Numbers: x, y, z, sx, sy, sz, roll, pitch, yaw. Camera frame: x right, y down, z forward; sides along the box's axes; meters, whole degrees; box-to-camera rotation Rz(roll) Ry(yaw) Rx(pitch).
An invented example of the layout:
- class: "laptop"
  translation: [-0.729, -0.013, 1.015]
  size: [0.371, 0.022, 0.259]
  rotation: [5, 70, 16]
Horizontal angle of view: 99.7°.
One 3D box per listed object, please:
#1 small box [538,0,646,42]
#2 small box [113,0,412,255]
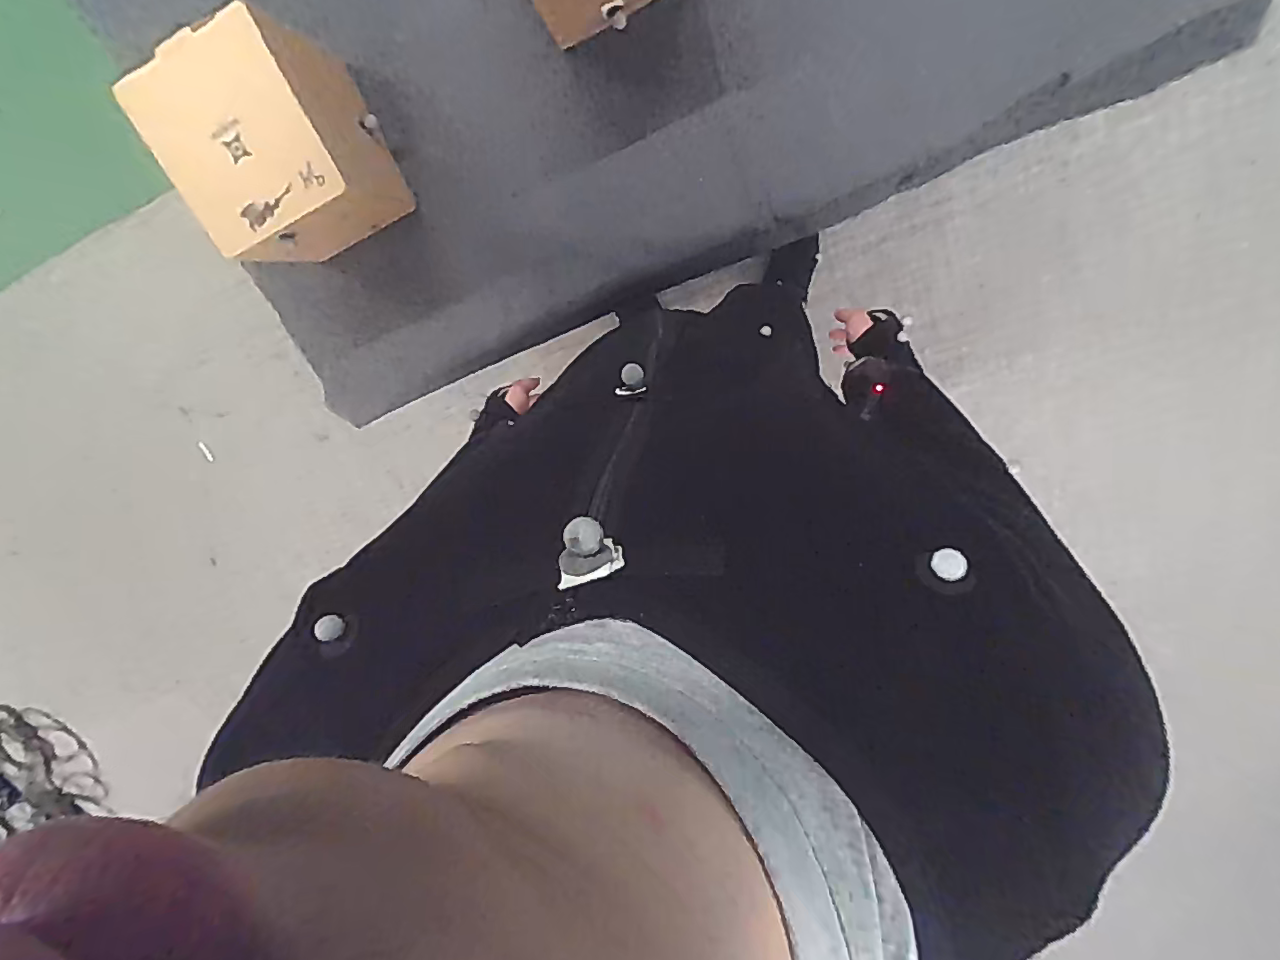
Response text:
- class: "small box"
  translation: [-0.055, -0.568, 0.504]
  size: [0.168, 0.176, 0.179]
  rotation: [-21, 111, 13]
- class: "small box"
  translation: [-0.397, -0.370, 0.605]
  size: [0.168, 0.176, 0.179]
  rotation: [-21, 109, 12]
